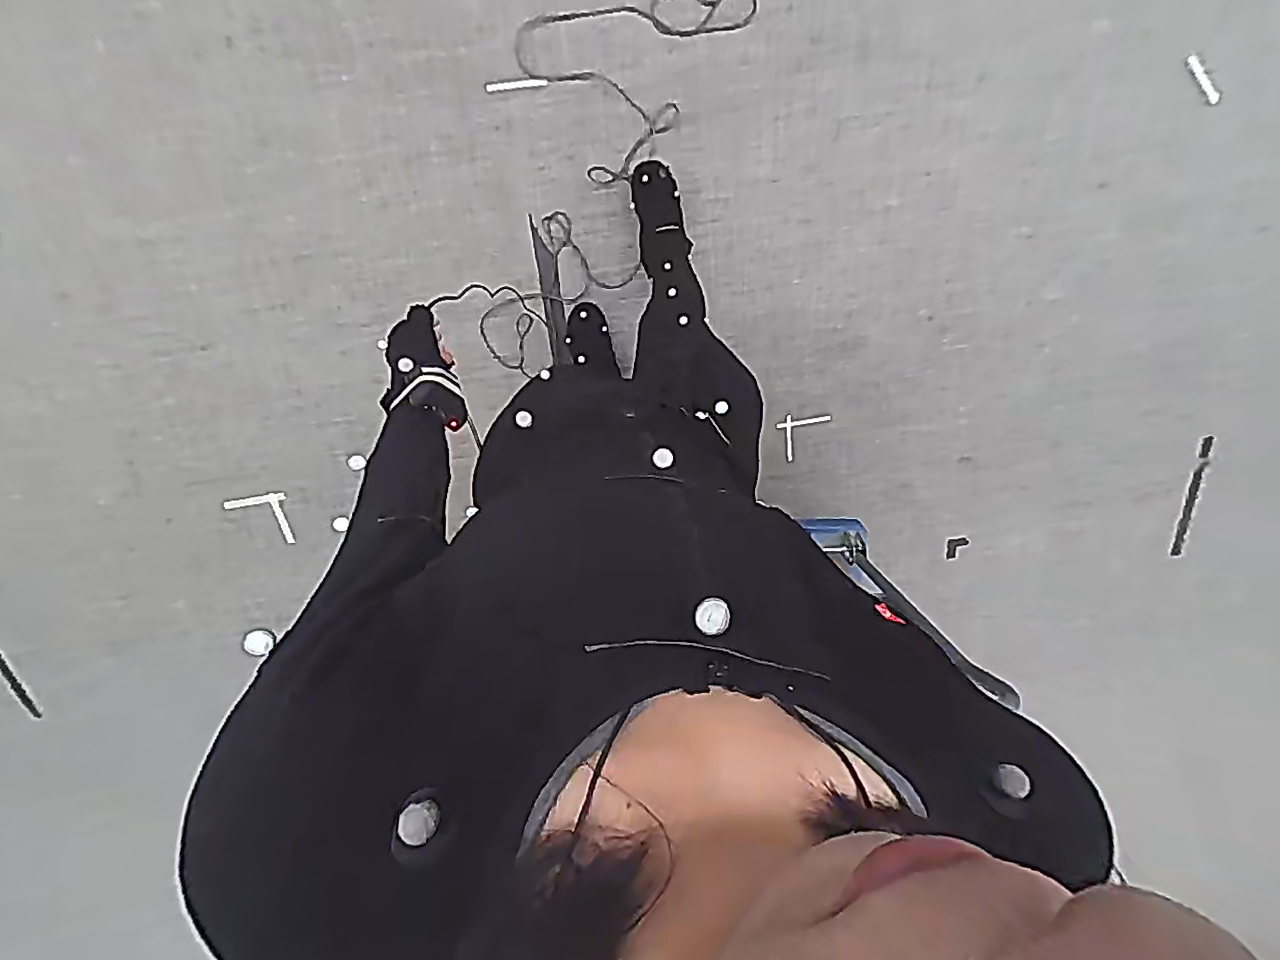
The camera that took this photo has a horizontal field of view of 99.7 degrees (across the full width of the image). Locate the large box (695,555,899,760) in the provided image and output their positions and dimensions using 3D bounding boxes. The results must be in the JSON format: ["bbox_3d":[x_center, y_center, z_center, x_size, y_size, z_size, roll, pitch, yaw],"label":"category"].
[{"bbox_3d":[0.384,0.440,1.388,0.408,0.320,0.320,-16,109,4],"label":"large box"}]
